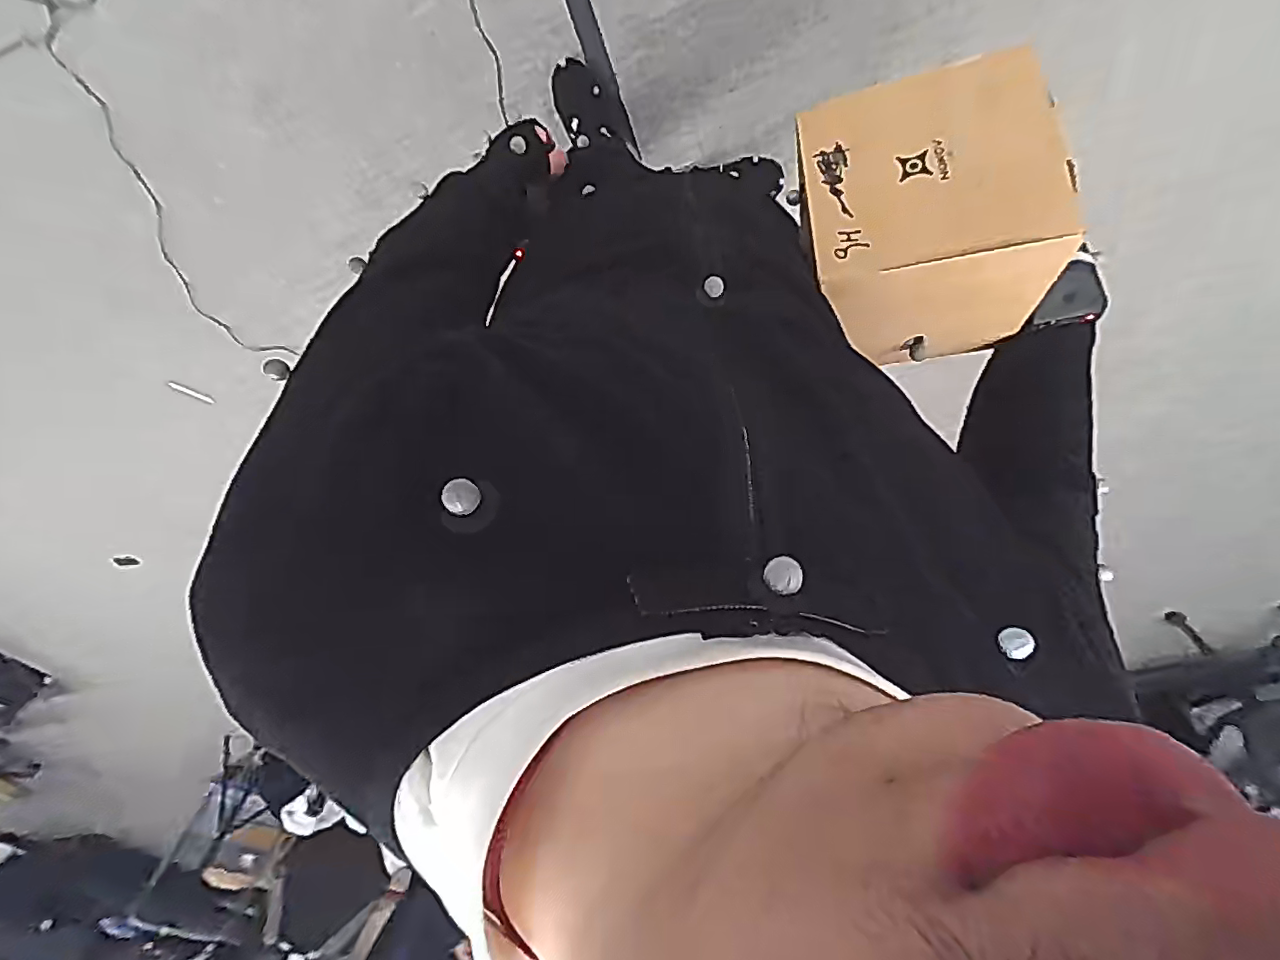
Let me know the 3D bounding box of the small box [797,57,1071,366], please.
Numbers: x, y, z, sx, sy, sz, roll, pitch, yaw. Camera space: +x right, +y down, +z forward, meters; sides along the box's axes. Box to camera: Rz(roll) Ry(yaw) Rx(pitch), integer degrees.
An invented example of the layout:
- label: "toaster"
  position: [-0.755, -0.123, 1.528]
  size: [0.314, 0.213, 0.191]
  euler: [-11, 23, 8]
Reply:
- label: "small box"
  position: [0.242, -0.223, 0.497]
  size: [0.179, 0.168, 0.176]
  euler: [-7, 164, 16]
